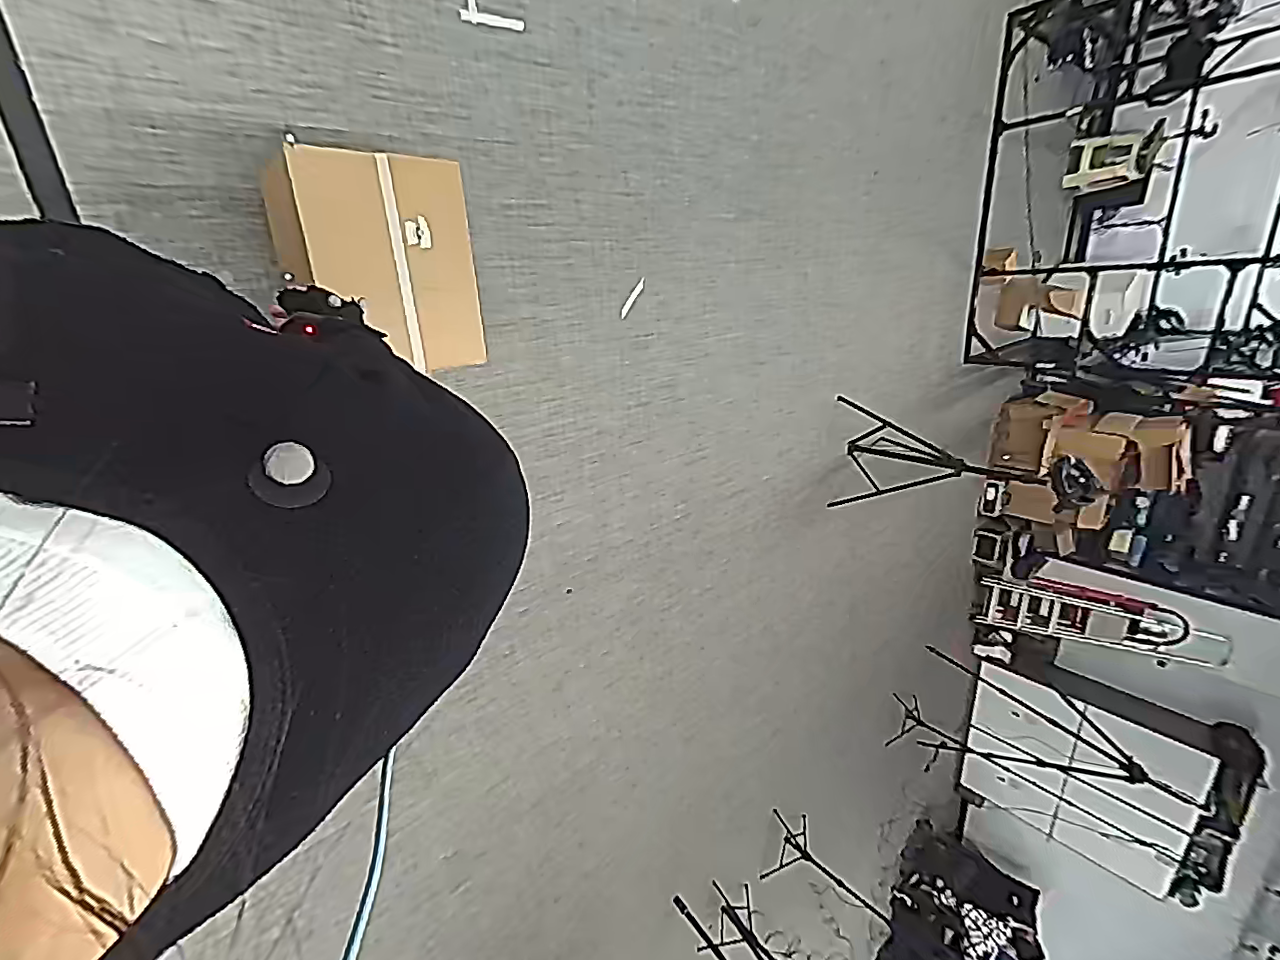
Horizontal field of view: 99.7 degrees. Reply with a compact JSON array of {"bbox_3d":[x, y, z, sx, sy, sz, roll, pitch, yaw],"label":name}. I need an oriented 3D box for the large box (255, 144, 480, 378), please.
[{"bbox_3d":[-0.590,-0.452,1.182,0.320,0.320,0.408,-19,114,-39],"label":"large box"}]
